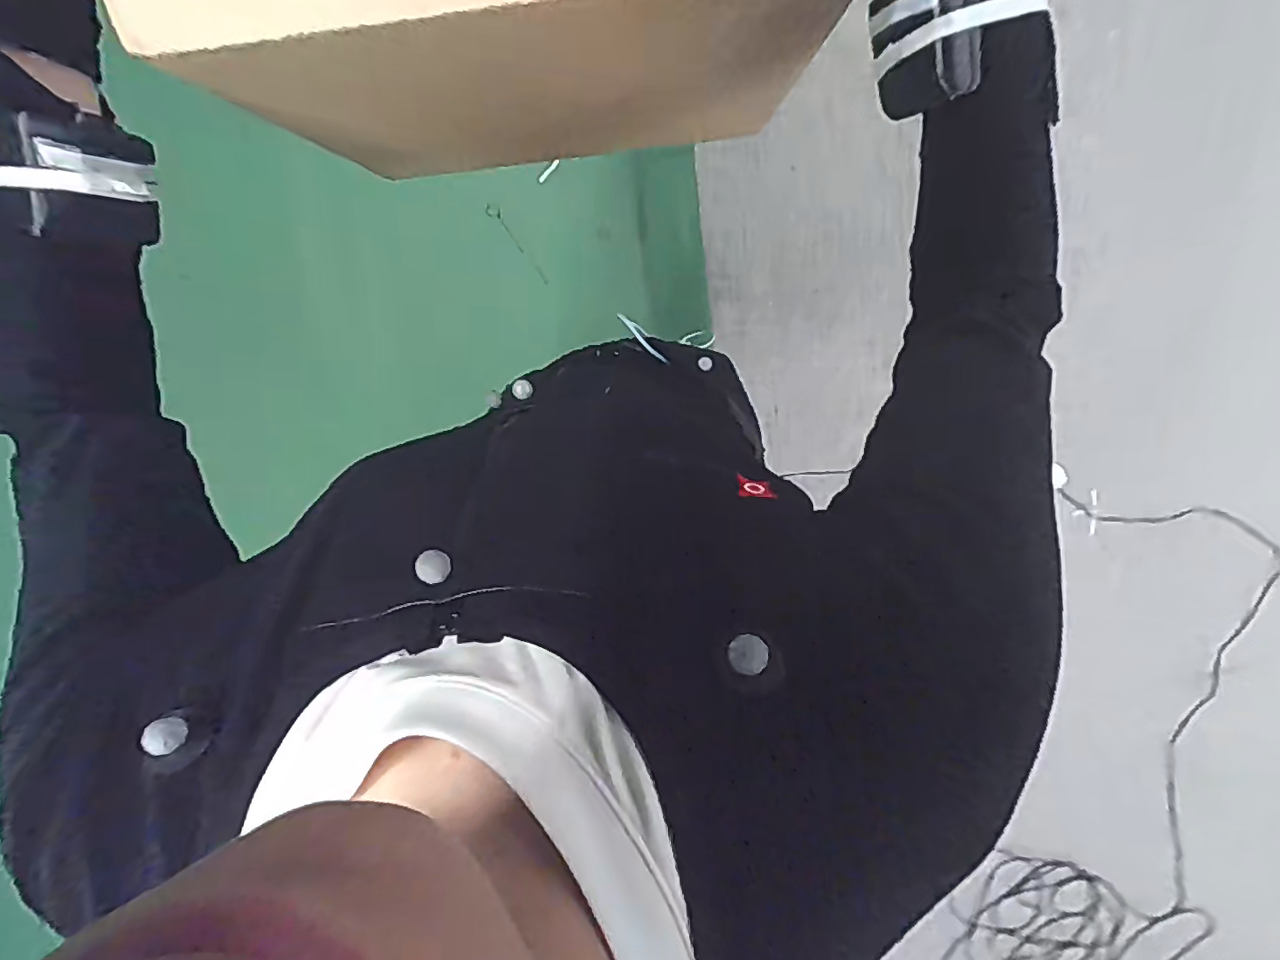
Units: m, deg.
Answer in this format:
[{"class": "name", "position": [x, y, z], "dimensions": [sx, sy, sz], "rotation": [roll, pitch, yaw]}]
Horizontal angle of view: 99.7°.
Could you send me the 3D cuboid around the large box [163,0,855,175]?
[{"class": "large box", "position": [-0.077, -0.447, 0.387], "dimensions": [0.408, 0.320, 0.320], "rotation": [-6, 108, 1]}]
